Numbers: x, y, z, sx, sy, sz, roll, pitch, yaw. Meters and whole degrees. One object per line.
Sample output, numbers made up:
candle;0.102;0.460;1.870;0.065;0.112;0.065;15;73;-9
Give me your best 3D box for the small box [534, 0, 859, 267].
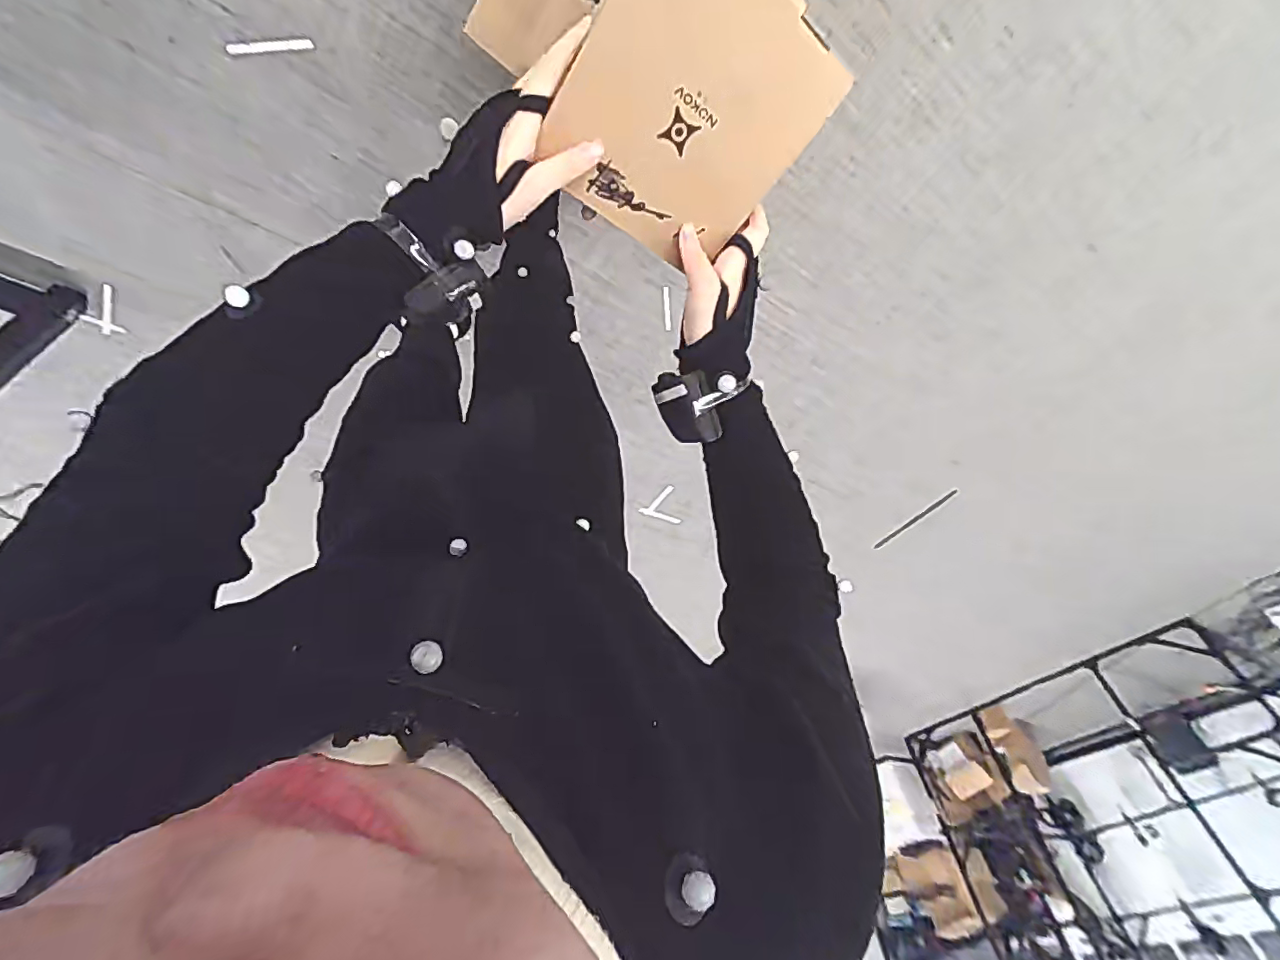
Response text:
small box;0.026;-0.316;0.425;0.168;0.176;0.179;23;128;-31
